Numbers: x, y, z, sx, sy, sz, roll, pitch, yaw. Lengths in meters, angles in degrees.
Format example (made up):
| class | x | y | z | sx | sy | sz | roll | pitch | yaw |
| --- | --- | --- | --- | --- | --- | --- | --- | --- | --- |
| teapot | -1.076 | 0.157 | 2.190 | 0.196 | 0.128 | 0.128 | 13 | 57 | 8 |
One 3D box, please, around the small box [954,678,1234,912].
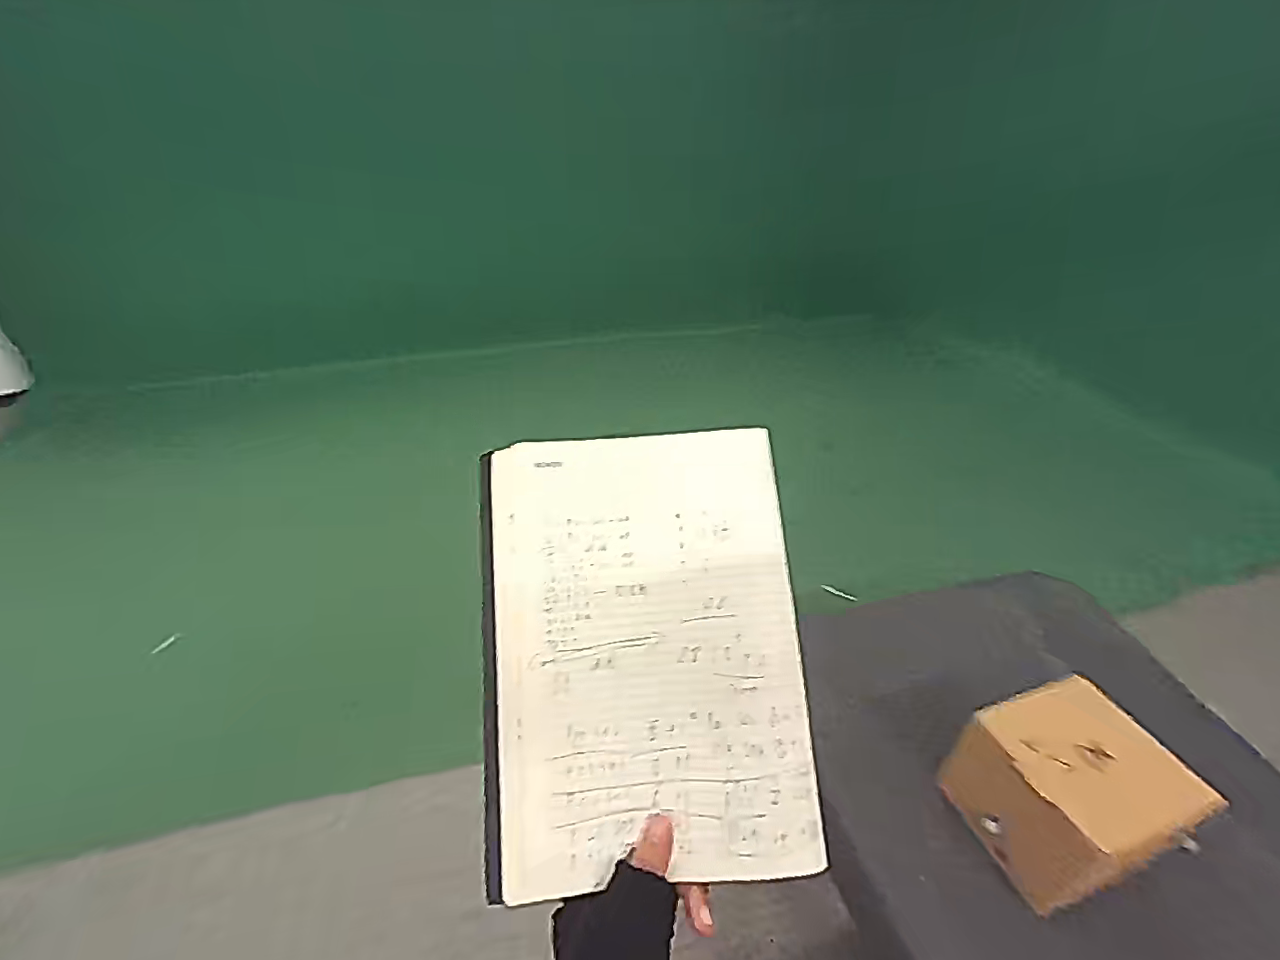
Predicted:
| class | x | y | z | sx | sy | sz | roll | pitch | yaw |
| --- | --- | --- | --- | --- | --- | --- | --- | --- | --- |
| small box | 0.529 | 0.380 | 0.662 | 0.179 | 0.176 | 0.168 | -11 | 35 | -13 |
